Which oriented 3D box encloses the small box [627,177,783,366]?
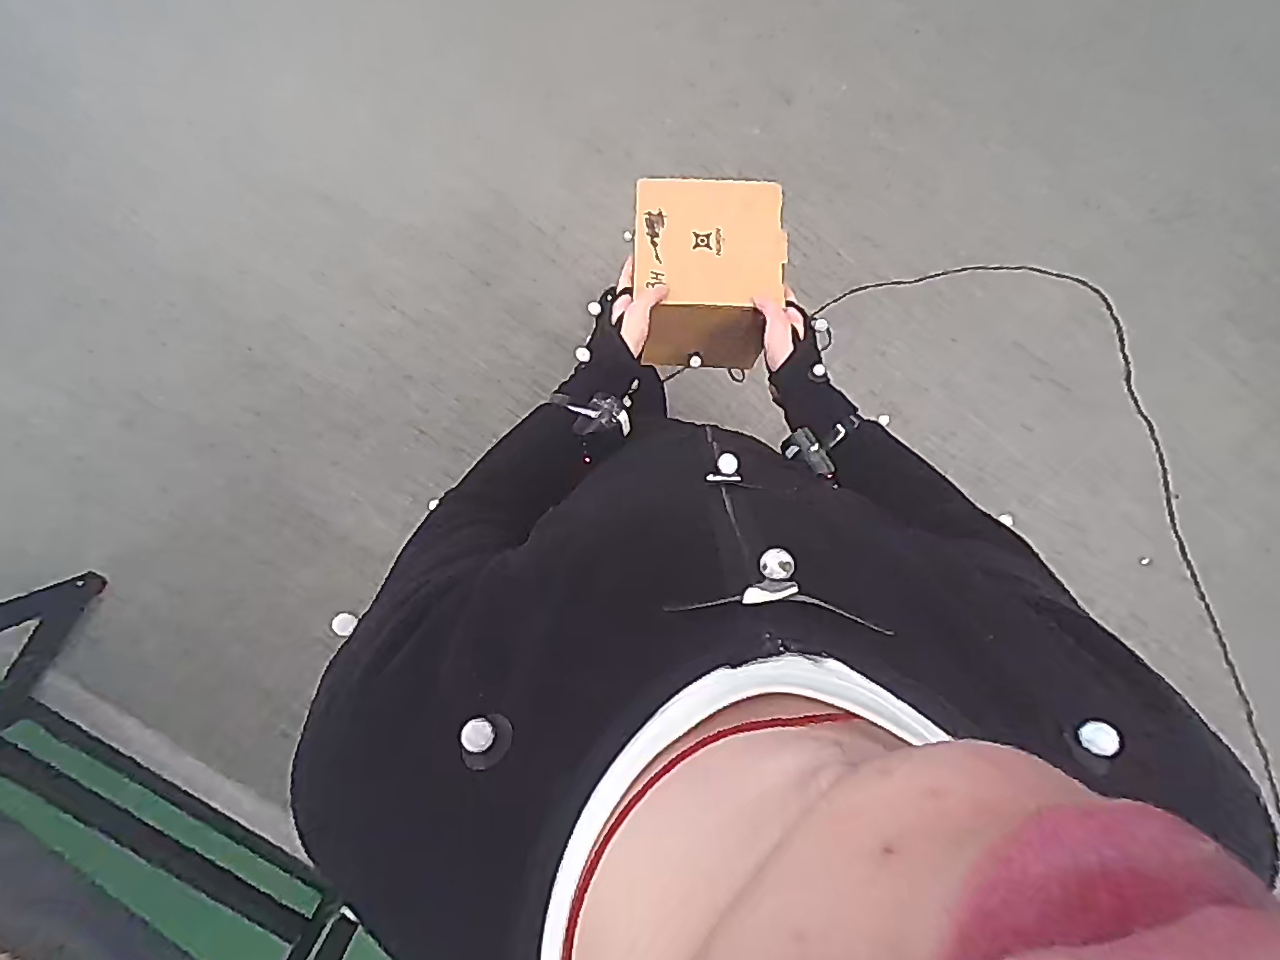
[{"bbox_3d":[0.076,-0.260,0.709,0.179,0.176,0.168,2,77,-2],"label":"small box"}]
